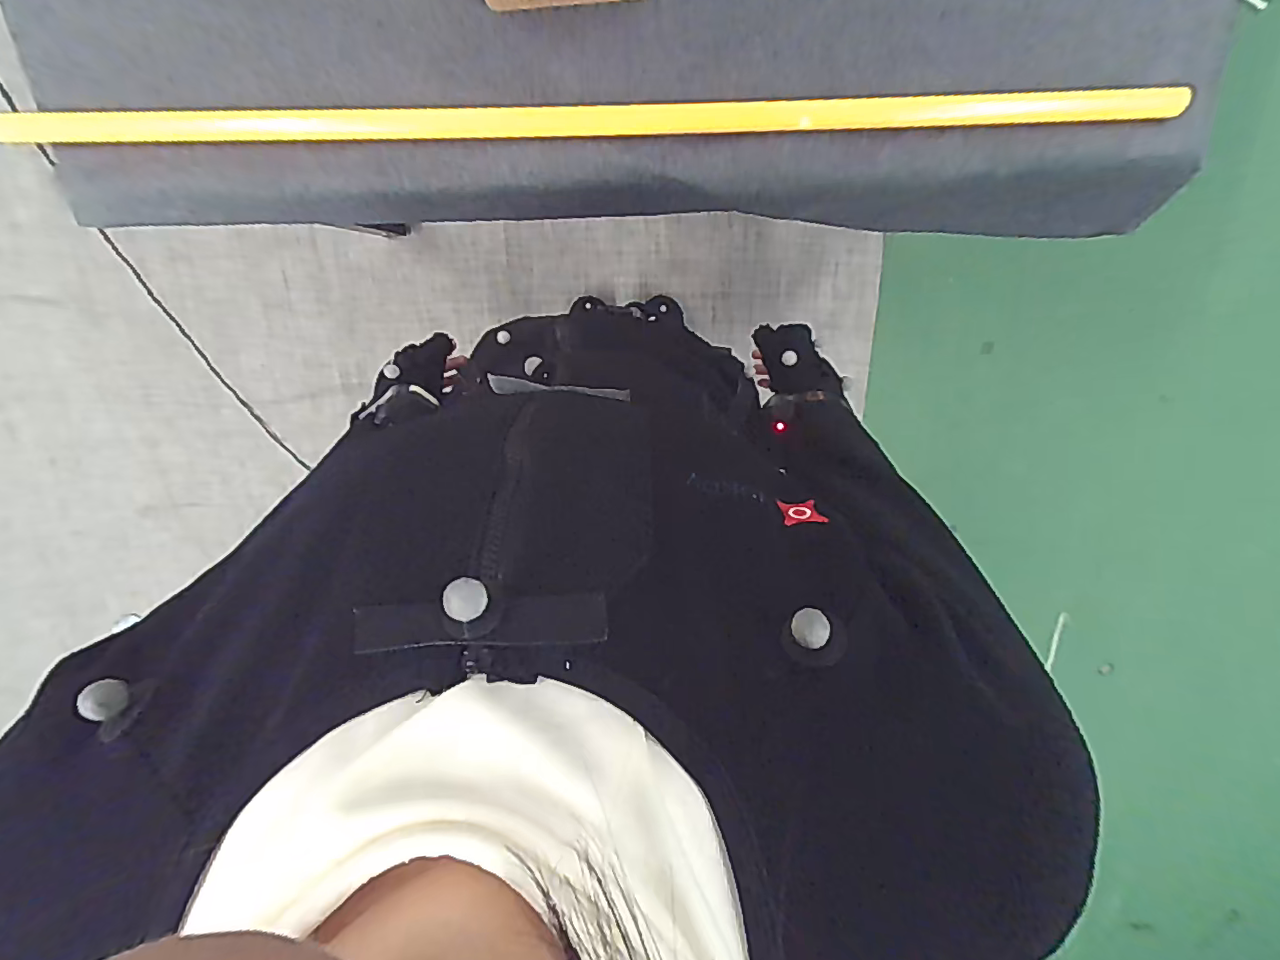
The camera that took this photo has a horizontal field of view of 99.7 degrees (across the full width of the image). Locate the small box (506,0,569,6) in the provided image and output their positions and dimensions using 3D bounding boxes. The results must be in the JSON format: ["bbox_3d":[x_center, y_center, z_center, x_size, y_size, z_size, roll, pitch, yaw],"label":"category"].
[{"bbox_3d":[-0.069,-0.527,0.427,0.168,0.176,0.179,-3,109,3],"label":"small box"}]
